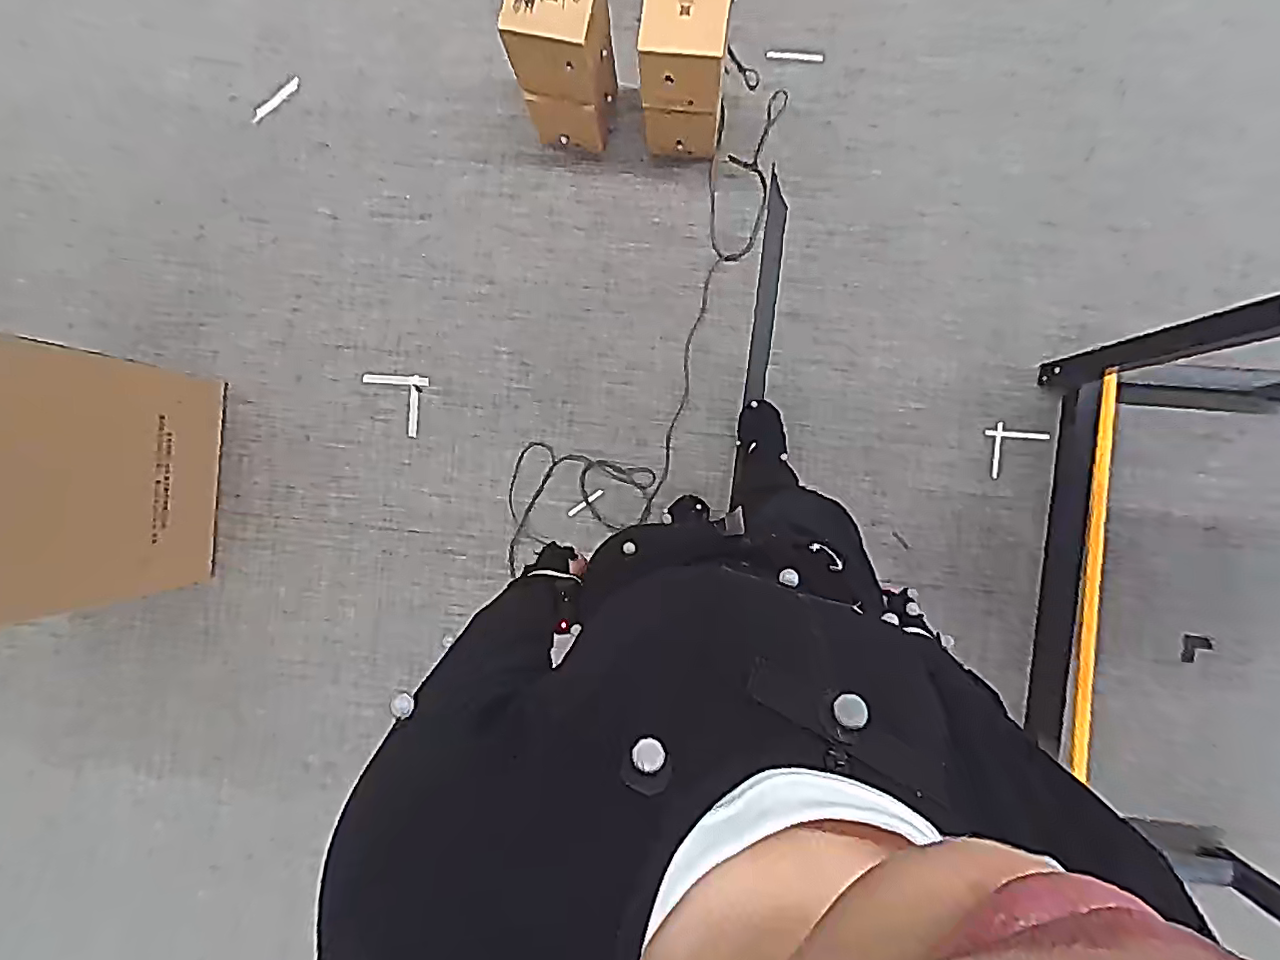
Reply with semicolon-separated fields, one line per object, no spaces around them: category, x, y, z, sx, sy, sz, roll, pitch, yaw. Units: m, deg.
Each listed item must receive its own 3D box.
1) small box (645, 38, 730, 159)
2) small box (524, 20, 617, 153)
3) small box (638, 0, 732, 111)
small box;0.109;-0.888;1.255;0.168;0.176;0.179;8;91;5
small box;-0.155;-0.914;1.270;0.168;0.176;0.179;13;92;3
small box;0.095;-0.887;1.093;0.168;0.176;0.179;8;90;4
